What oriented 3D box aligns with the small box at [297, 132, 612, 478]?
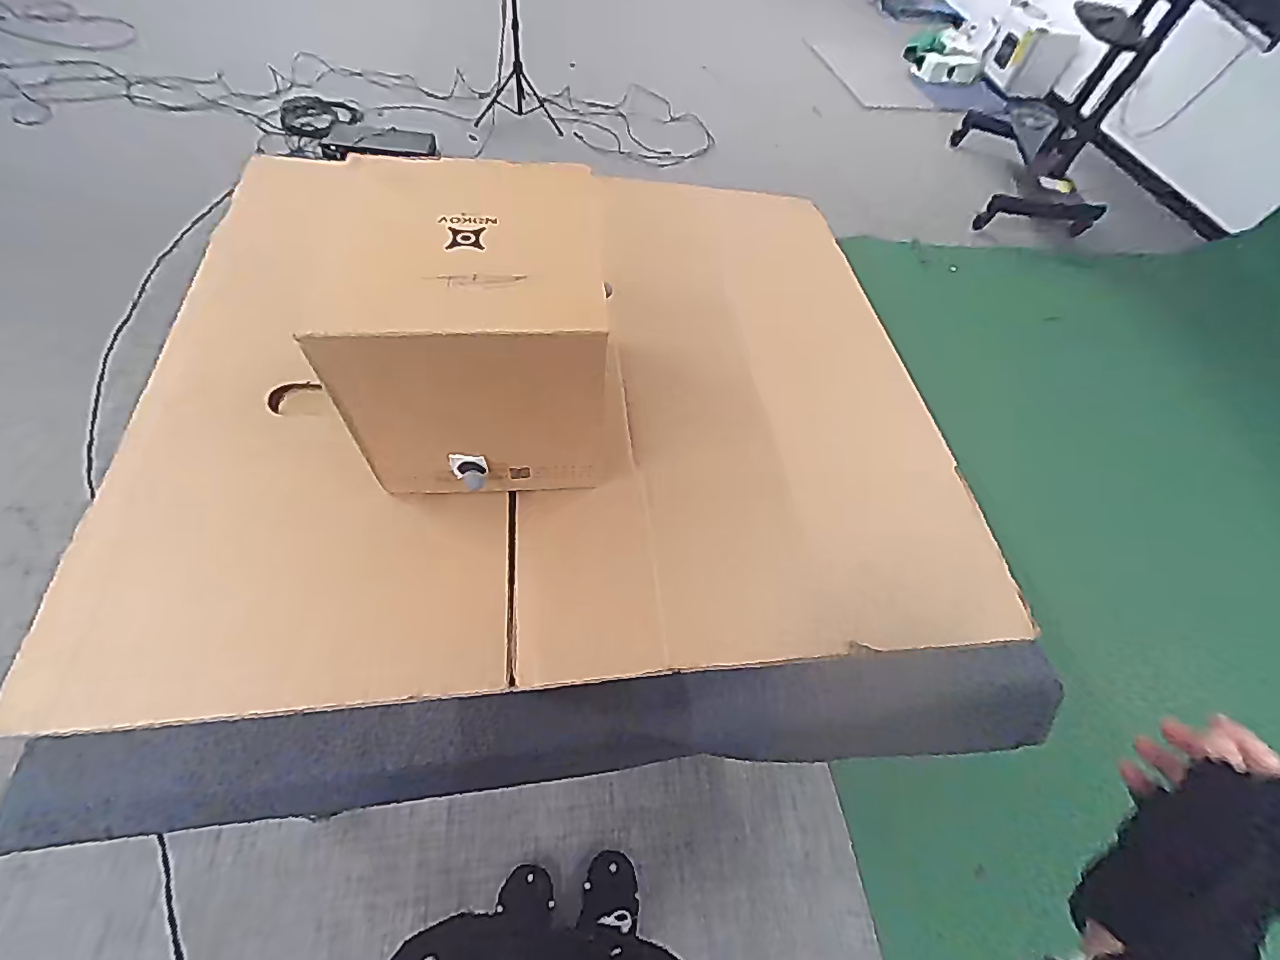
[{"bbox_3d":[-0.113,-0.120,0.398,0.168,0.176,0.179,-3,59,-8],"label":"small box"}]
